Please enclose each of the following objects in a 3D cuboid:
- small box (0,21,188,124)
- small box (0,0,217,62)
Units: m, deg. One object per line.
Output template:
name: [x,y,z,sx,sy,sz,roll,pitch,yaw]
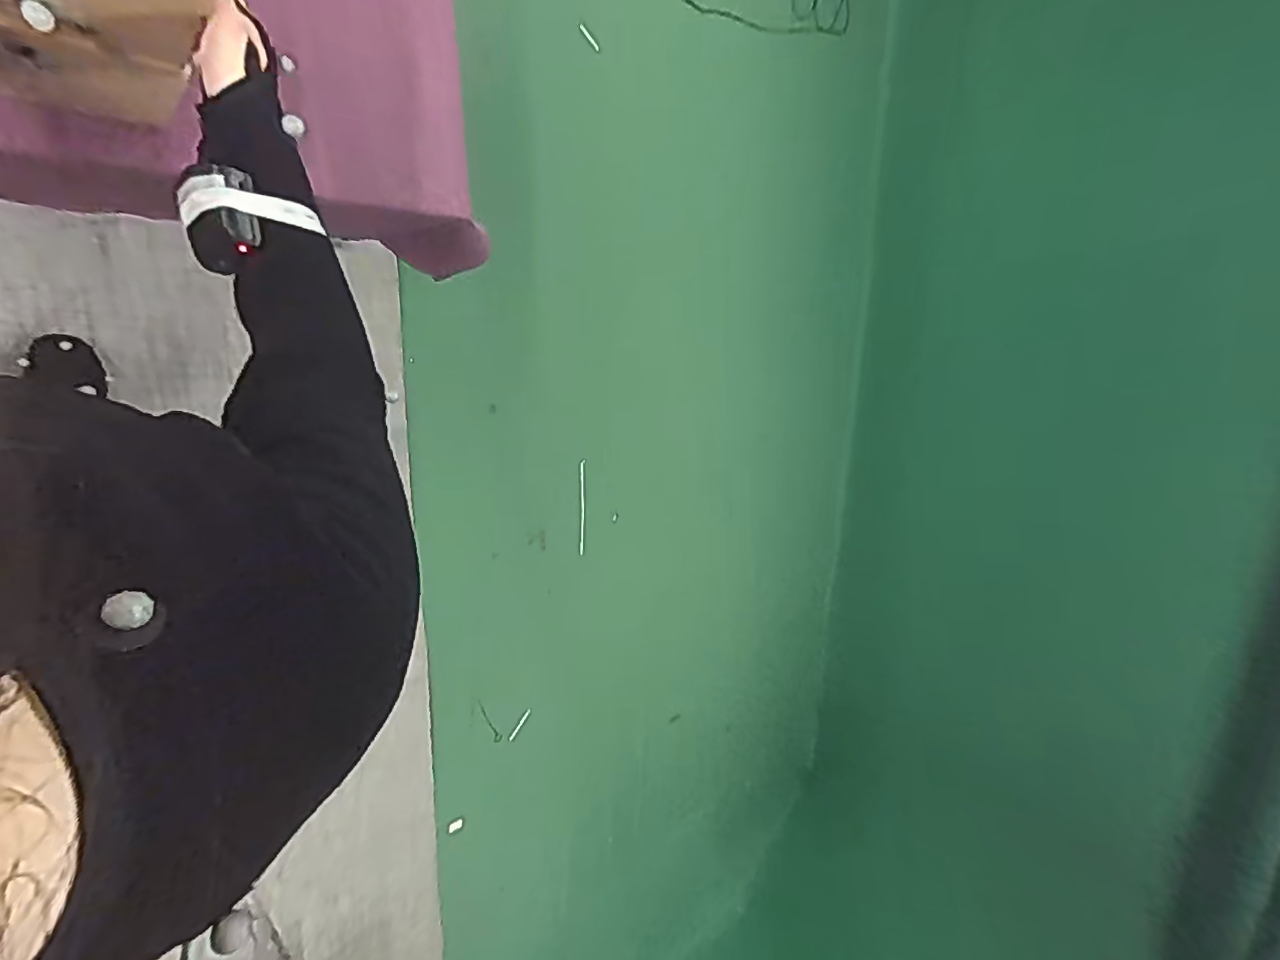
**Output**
small box: [-0.499,-0.417,0.434,0.179,0.176,0.168,-13,109,-45]
small box: [-0.380,-0.400,0.321,0.168,0.176,0.179,-17,111,-43]
